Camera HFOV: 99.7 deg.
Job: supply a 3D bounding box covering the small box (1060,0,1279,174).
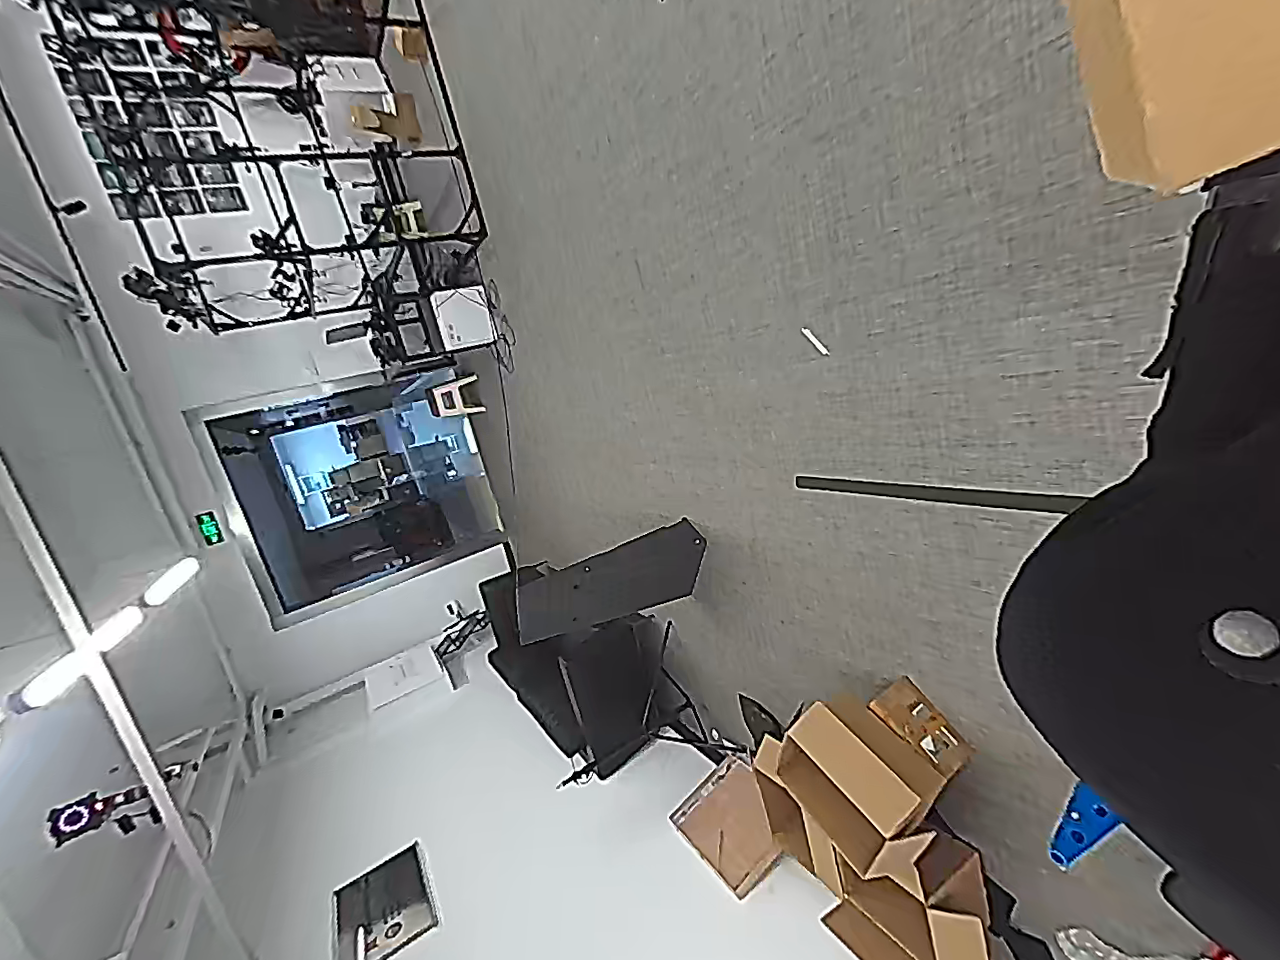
[{"bbox_3d":[0.263,-0.241,0.199,0.168,0.176,0.179,-15,107,40],"label":"small box"}]
